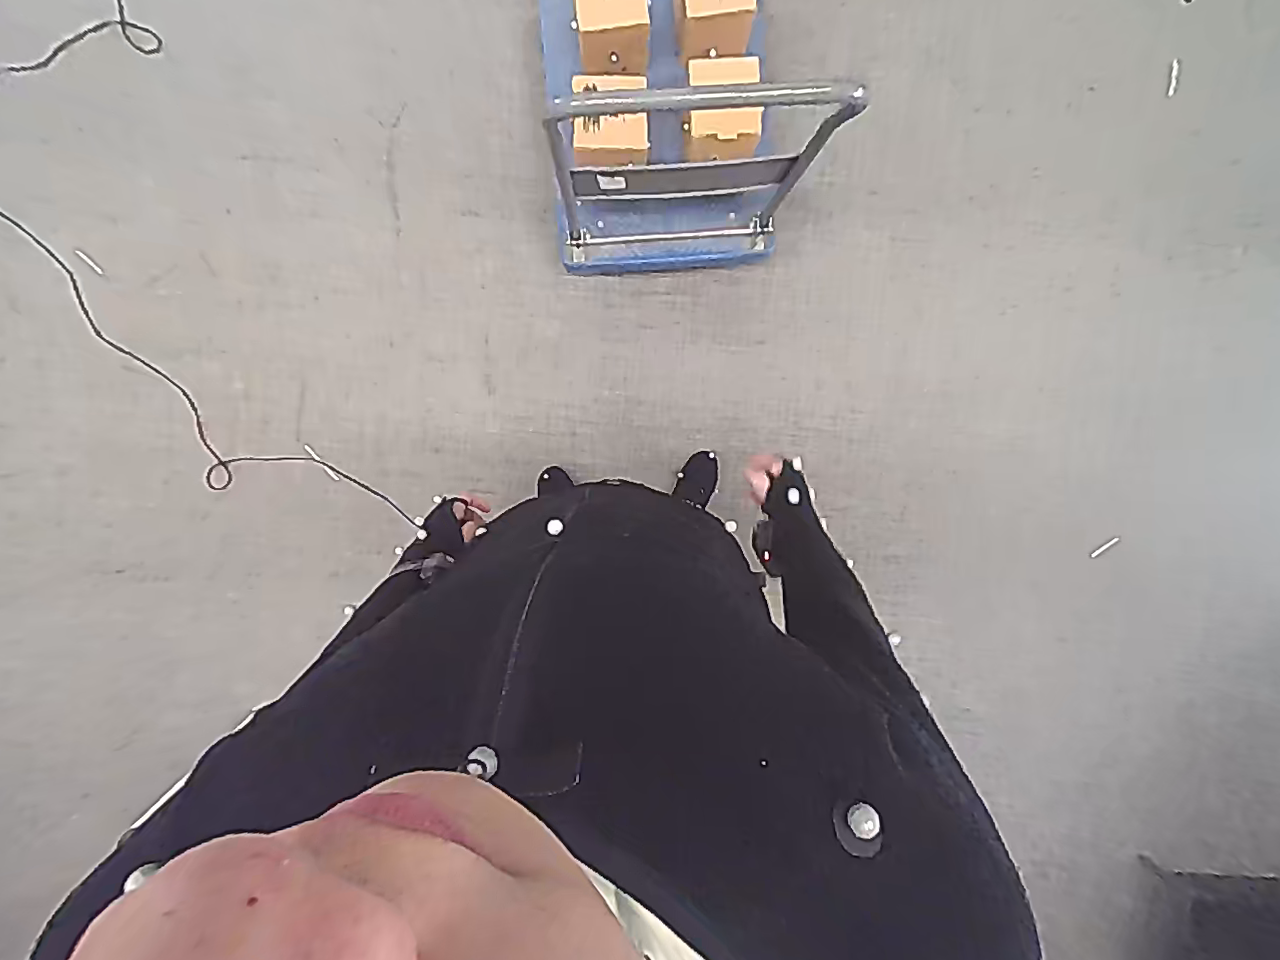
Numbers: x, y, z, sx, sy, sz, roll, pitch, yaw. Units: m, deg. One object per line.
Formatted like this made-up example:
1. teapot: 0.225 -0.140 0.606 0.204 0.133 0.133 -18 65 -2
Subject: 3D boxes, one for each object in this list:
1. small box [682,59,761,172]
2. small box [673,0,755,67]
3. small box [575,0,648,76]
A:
1. small box: 0.198 -0.905 1.353 0.168 0.176 0.179 -4 93 -1
2. small box: 0.177 -1.175 1.337 0.168 0.176 0.179 -8 94 0
3. small box: -0.072 -1.138 1.335 0.168 0.176 0.179 -8 93 -1
